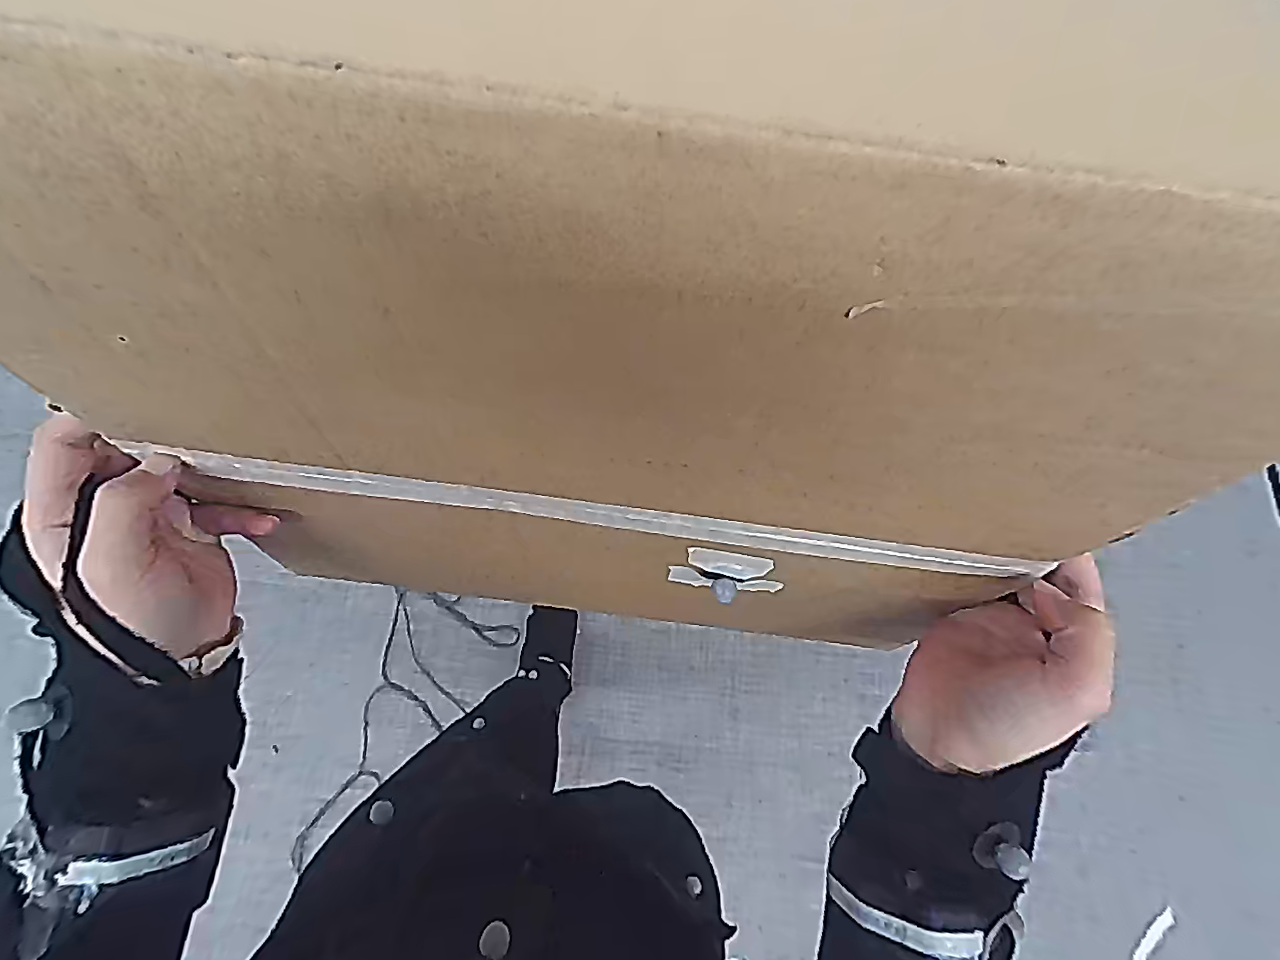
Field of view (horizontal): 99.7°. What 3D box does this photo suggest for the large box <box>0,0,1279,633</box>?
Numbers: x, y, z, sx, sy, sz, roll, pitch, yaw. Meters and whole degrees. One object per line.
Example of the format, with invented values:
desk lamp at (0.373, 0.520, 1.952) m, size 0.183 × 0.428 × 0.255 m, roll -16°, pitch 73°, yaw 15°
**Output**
large box at (-0.009, -0.122, 0.319) m, size 0.408 × 0.320 × 0.320 m, roll 7°, pitch 60°, yaw -1°
